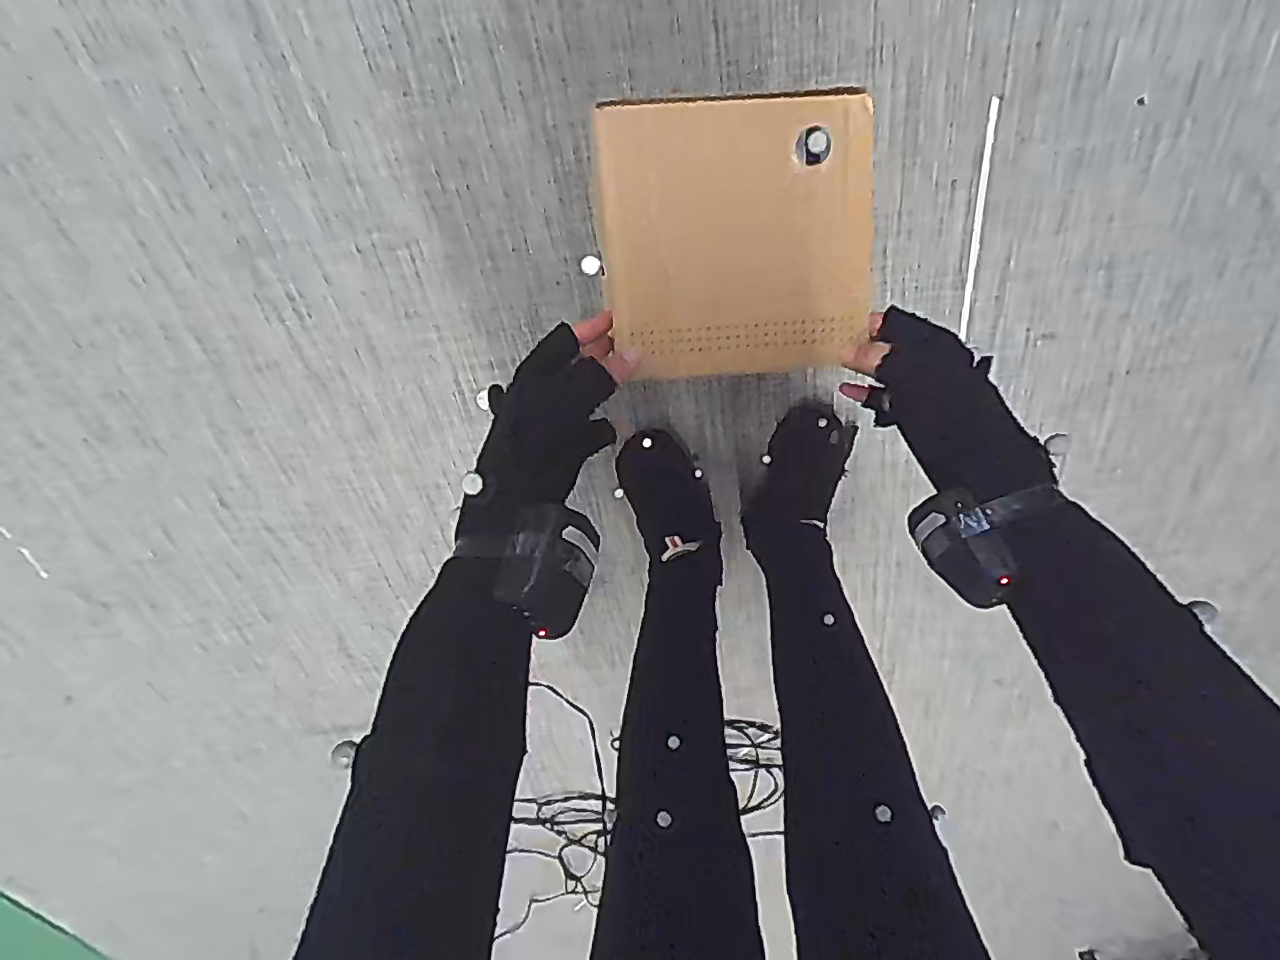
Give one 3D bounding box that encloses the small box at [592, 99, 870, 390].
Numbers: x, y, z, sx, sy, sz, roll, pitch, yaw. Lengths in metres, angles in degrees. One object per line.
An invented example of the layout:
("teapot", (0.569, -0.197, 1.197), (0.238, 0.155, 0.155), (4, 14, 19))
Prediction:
("small box", (0.058, -0.163, 0.422), (0.179, 0.168, 0.176), (-4, 105, -3))
